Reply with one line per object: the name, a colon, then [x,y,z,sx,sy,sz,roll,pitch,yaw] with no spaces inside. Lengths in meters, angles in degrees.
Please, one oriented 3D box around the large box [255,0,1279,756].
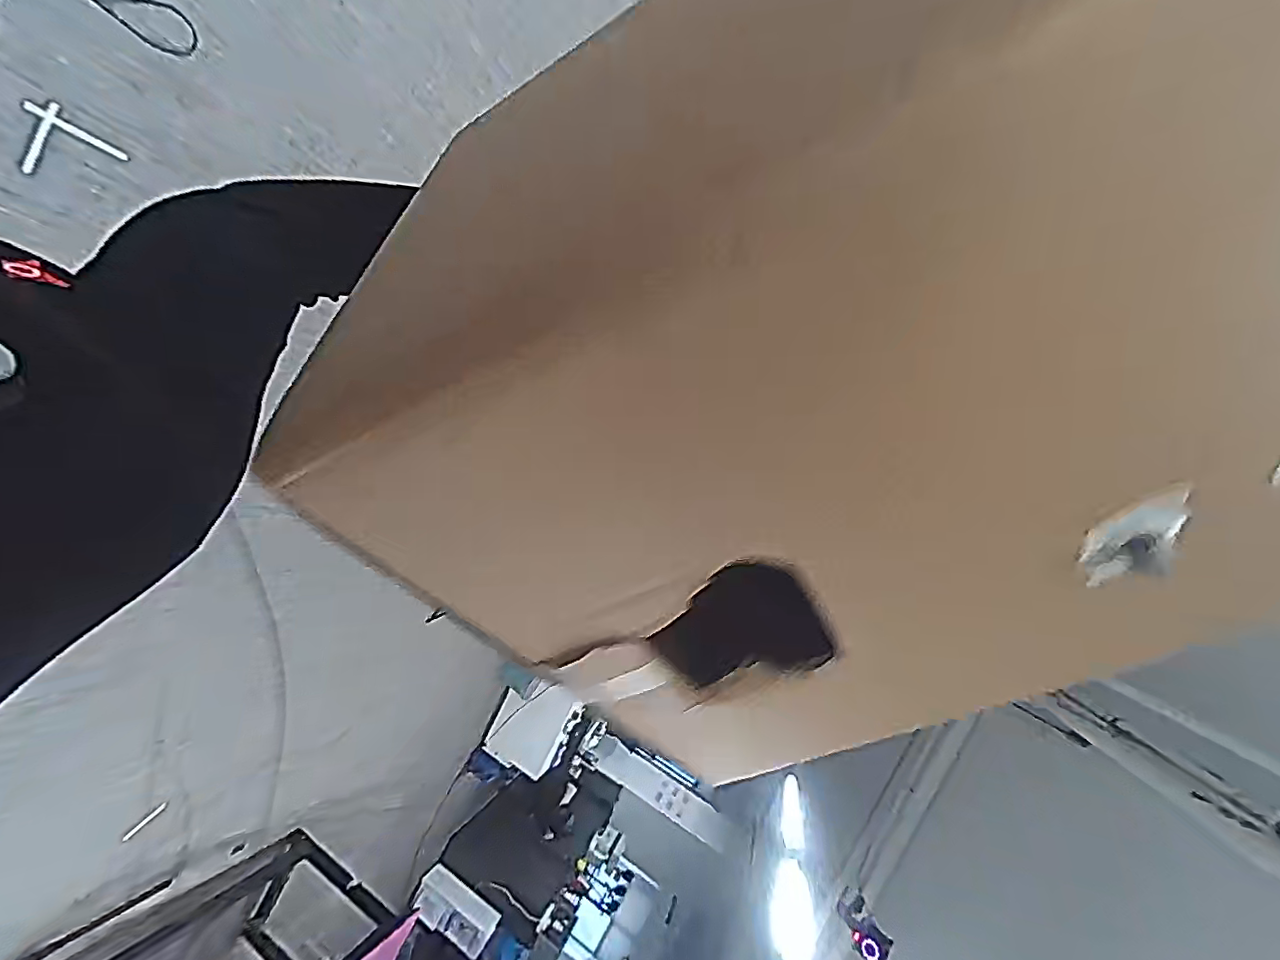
large box: [0.080,-0.110,0.345,0.320,0.320,0.408,55,19,-40]
